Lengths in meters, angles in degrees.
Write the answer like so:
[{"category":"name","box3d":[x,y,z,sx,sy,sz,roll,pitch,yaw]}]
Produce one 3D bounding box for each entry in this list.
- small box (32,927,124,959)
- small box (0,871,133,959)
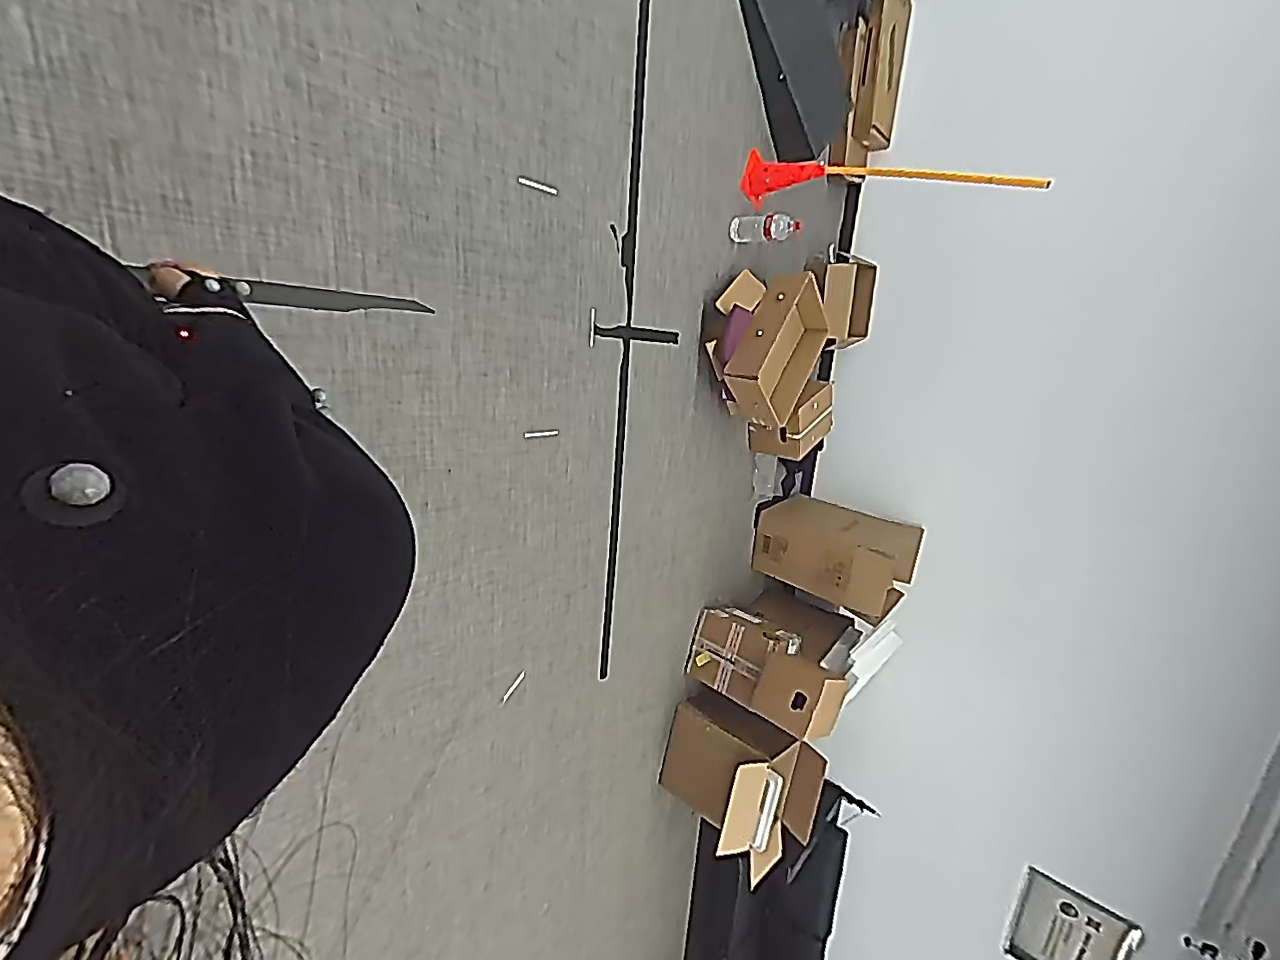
[{"category":"small box","box3d":[-1.111,1.026,1.040,0.168,0.176,0.179,-31,125,-43]},{"category":"small box","box3d":[-1.231,0.982,1.144,0.168,0.176,0.179,-30,124,-42]}]
